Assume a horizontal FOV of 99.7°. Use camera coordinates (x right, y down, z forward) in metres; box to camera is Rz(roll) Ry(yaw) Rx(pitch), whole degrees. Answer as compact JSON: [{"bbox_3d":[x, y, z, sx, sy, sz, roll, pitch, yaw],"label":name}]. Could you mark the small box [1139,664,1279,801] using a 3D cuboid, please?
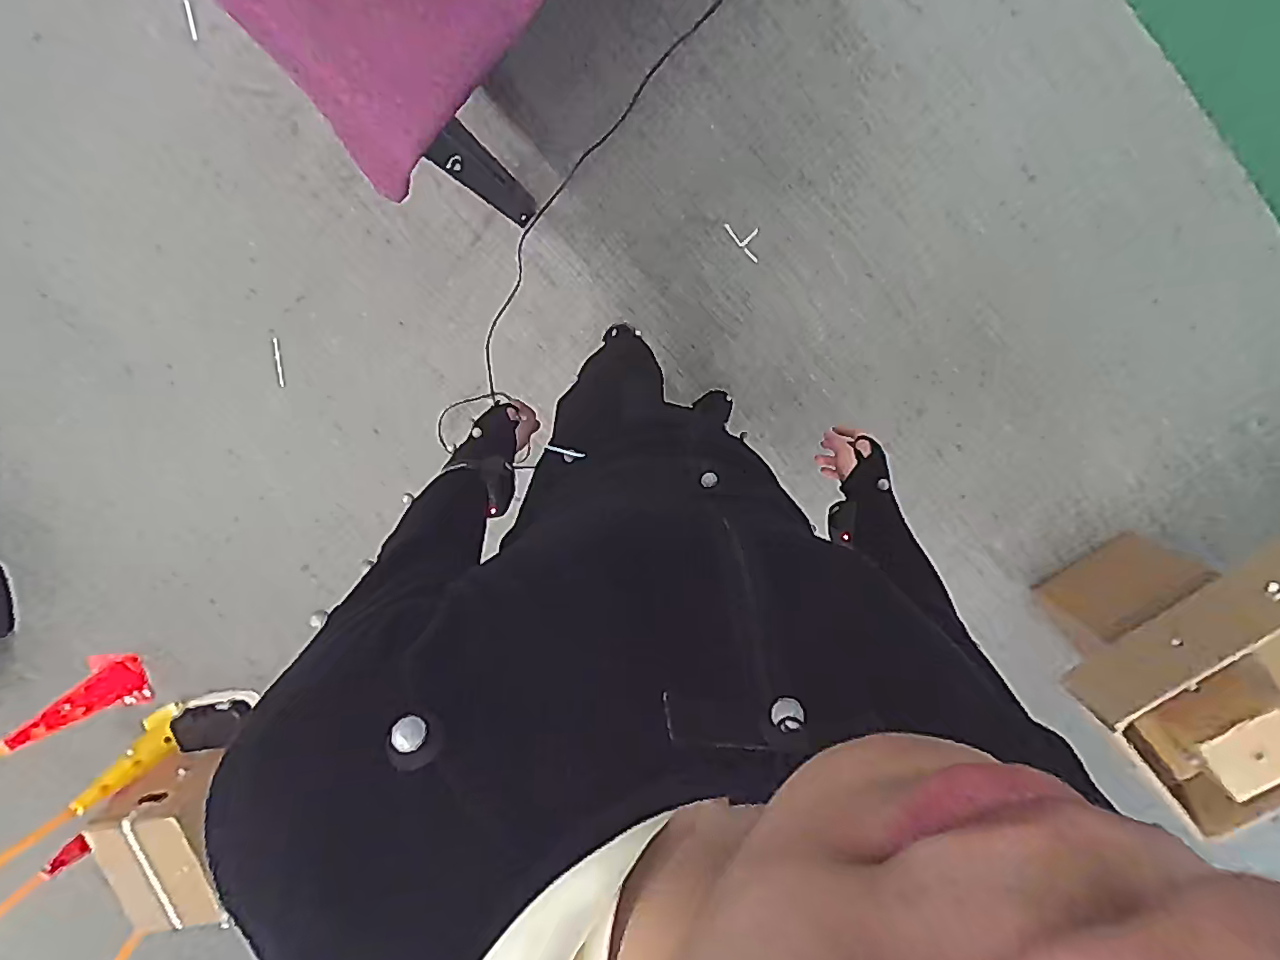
[{"bbox_3d":[1.267,0.541,1.177,0.168,0.176,0.179,-40,98,13],"label":"small box"}]
